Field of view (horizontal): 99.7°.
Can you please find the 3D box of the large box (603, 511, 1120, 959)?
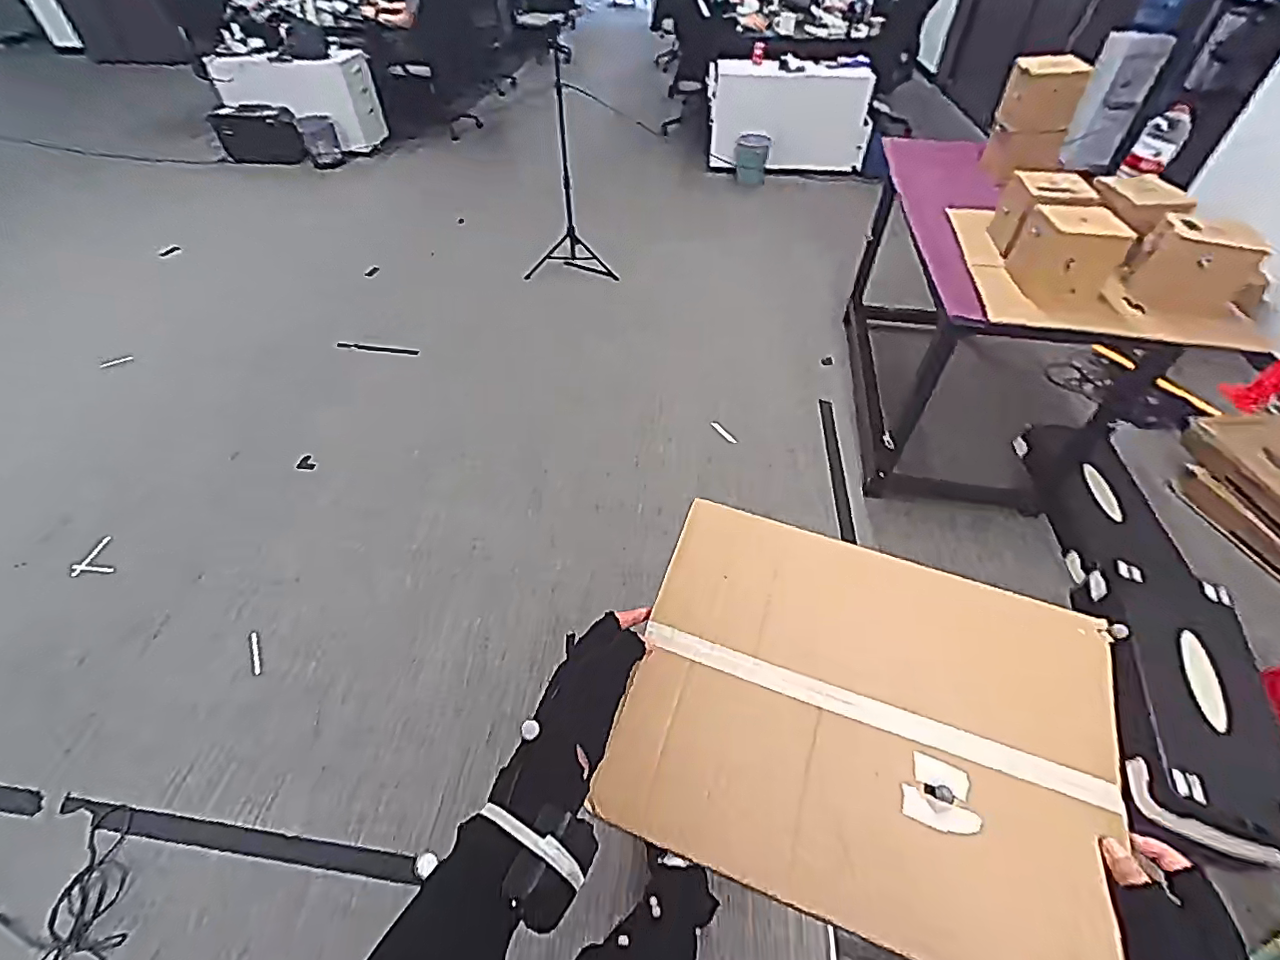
[{"bbox_3d":[0.205,0.286,0.615,0.408,0.320,0.320,17,61,12],"label":"large box"}]
